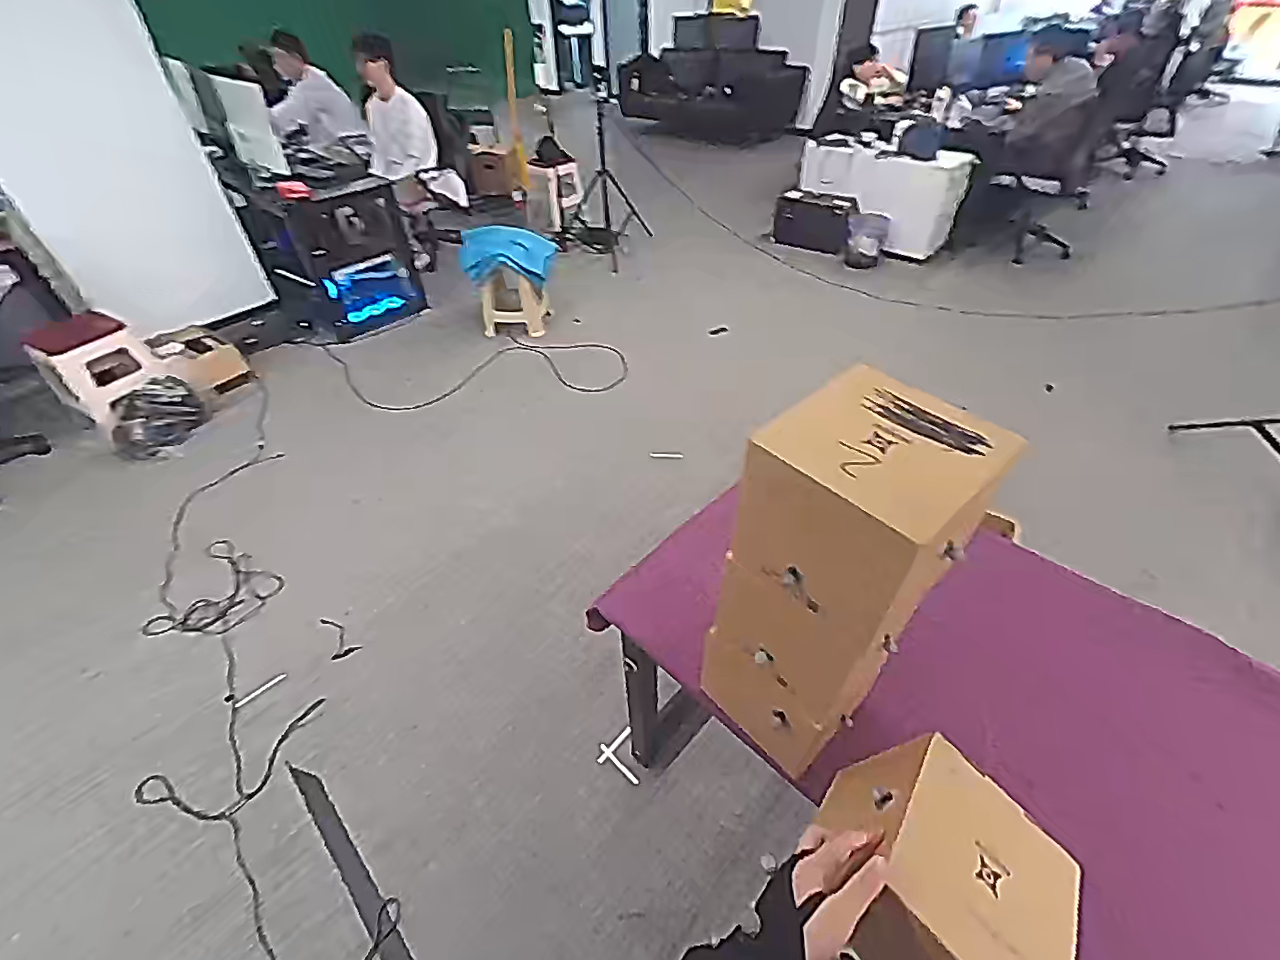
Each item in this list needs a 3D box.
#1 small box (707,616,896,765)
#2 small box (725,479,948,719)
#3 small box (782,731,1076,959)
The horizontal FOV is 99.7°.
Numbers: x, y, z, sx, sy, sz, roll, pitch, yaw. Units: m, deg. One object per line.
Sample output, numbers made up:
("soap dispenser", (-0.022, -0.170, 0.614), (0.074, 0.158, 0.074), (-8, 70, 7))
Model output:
("small box", (0.211, 0.259, 0.746), (0.168, 0.176, 0.179), (-32, 51, -28))
("small box", (0.215, 0.137, 0.636), (0.179, 0.176, 0.168), (-33, 52, -28))
("small box", (0.268, 0.388, 0.521), (0.168, 0.176, 0.179), (43, 45, 15))
